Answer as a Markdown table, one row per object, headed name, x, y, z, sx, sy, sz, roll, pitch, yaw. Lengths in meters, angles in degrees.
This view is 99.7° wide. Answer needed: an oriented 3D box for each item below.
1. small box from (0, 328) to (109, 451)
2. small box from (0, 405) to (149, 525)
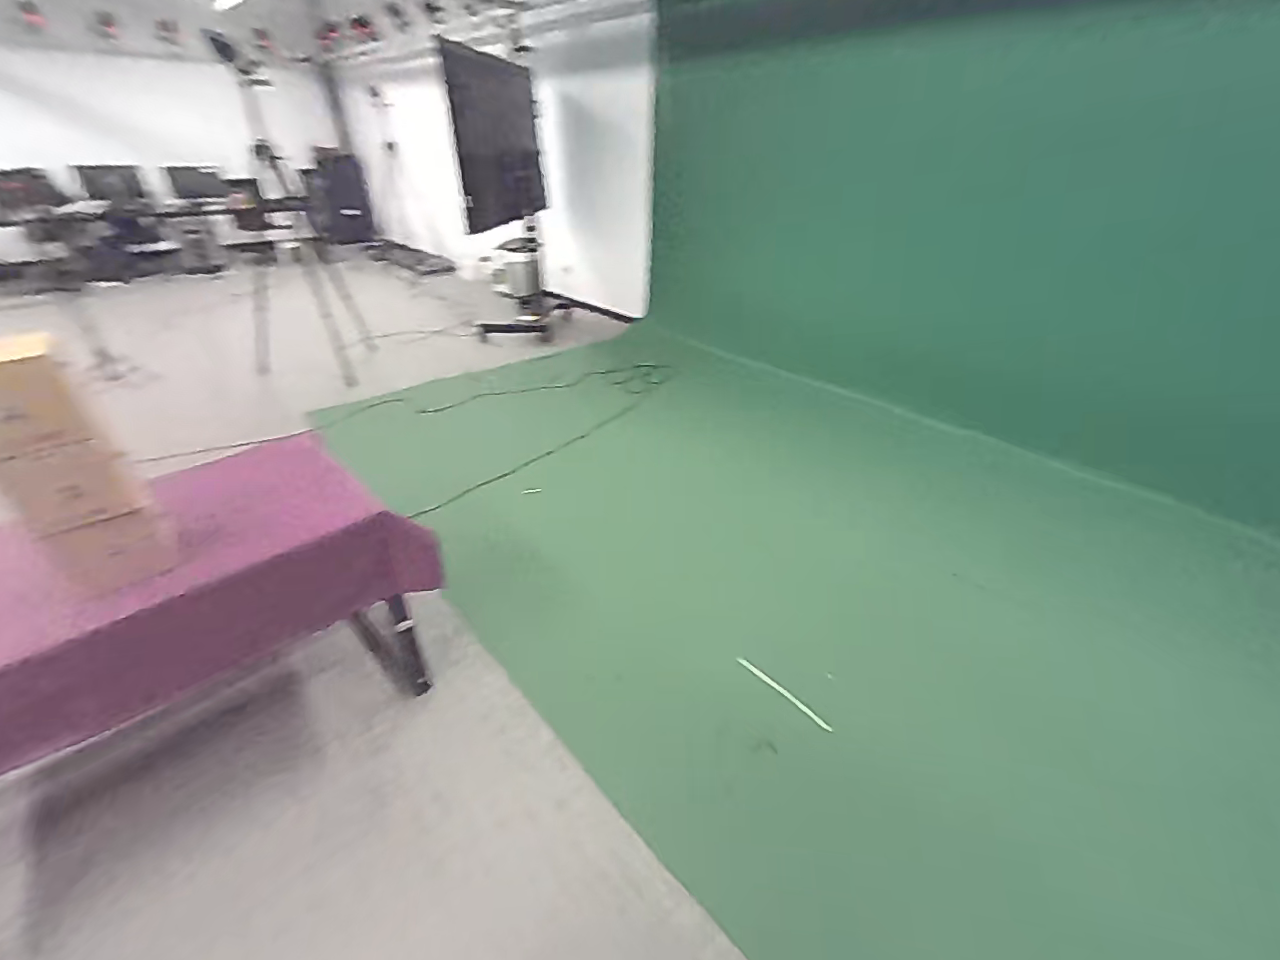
| name | x | y | z | sx | sy | sz | roll | pitch | yaw |
| --- | --- | --- | --- | --- | --- | --- | --- | --- | --- |
| small box | -1.136 | -0.167 | 1.007 | 0.168 | 0.176 | 0.179 | -23 | 39 | -33 |
| small box | -1.137 | -0.028 | 1.097 | 0.168 | 0.176 | 0.179 | -22 | 39 | -32 |
